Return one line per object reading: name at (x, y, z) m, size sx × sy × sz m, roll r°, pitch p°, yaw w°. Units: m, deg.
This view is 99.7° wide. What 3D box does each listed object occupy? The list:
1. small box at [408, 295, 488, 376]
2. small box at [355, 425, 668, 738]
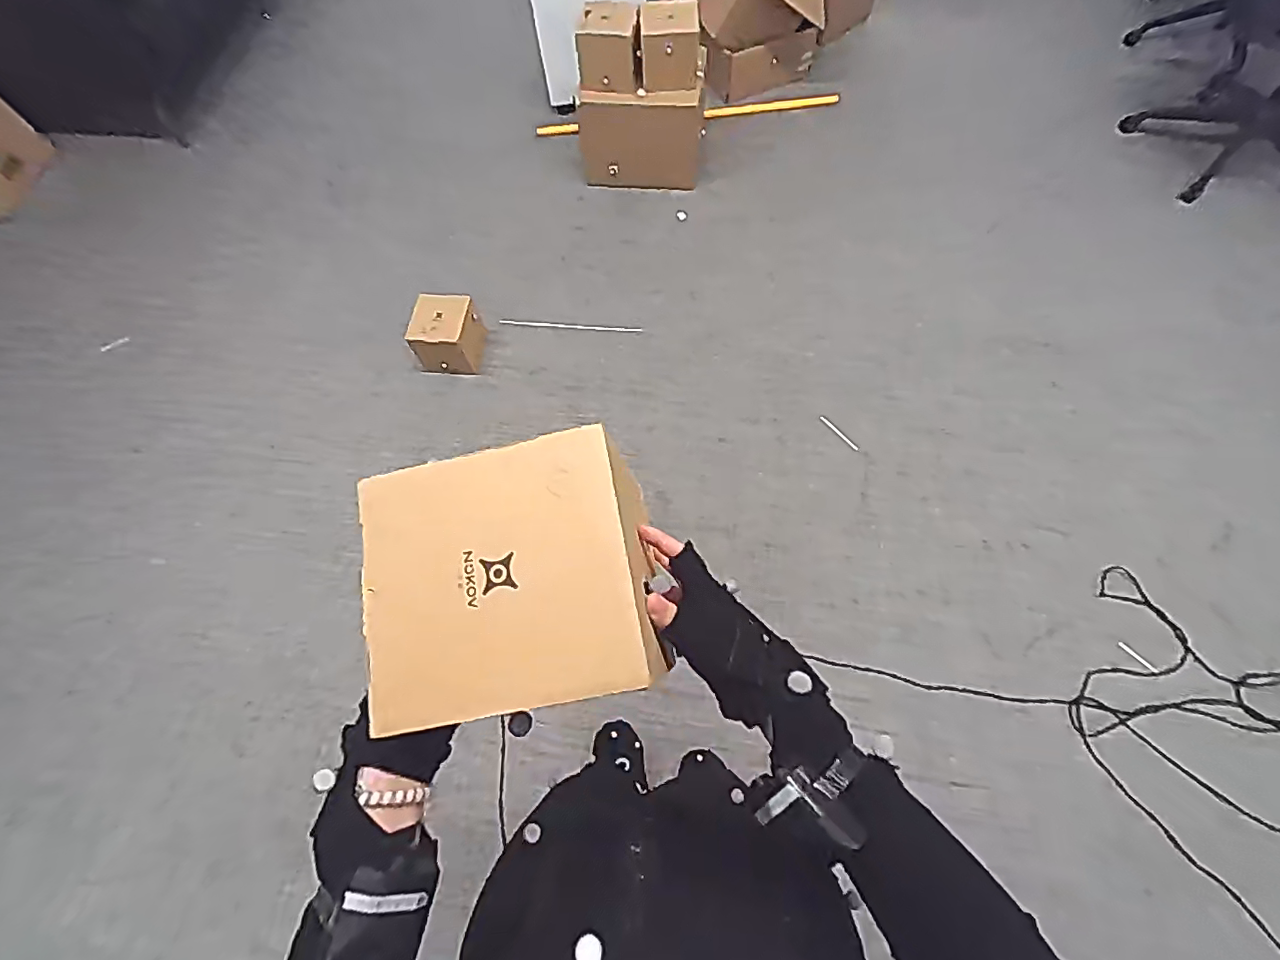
small box at (-0.590, -0.448, 1.686) m, size 0.168 × 0.176 × 0.179 m, roll 4°, pitch 67°, yaw 5°
small box at (-0.079, 0.077, 0.407) m, size 0.179 × 0.176 × 0.168 m, roll -13°, pitch 74°, yaw 7°
